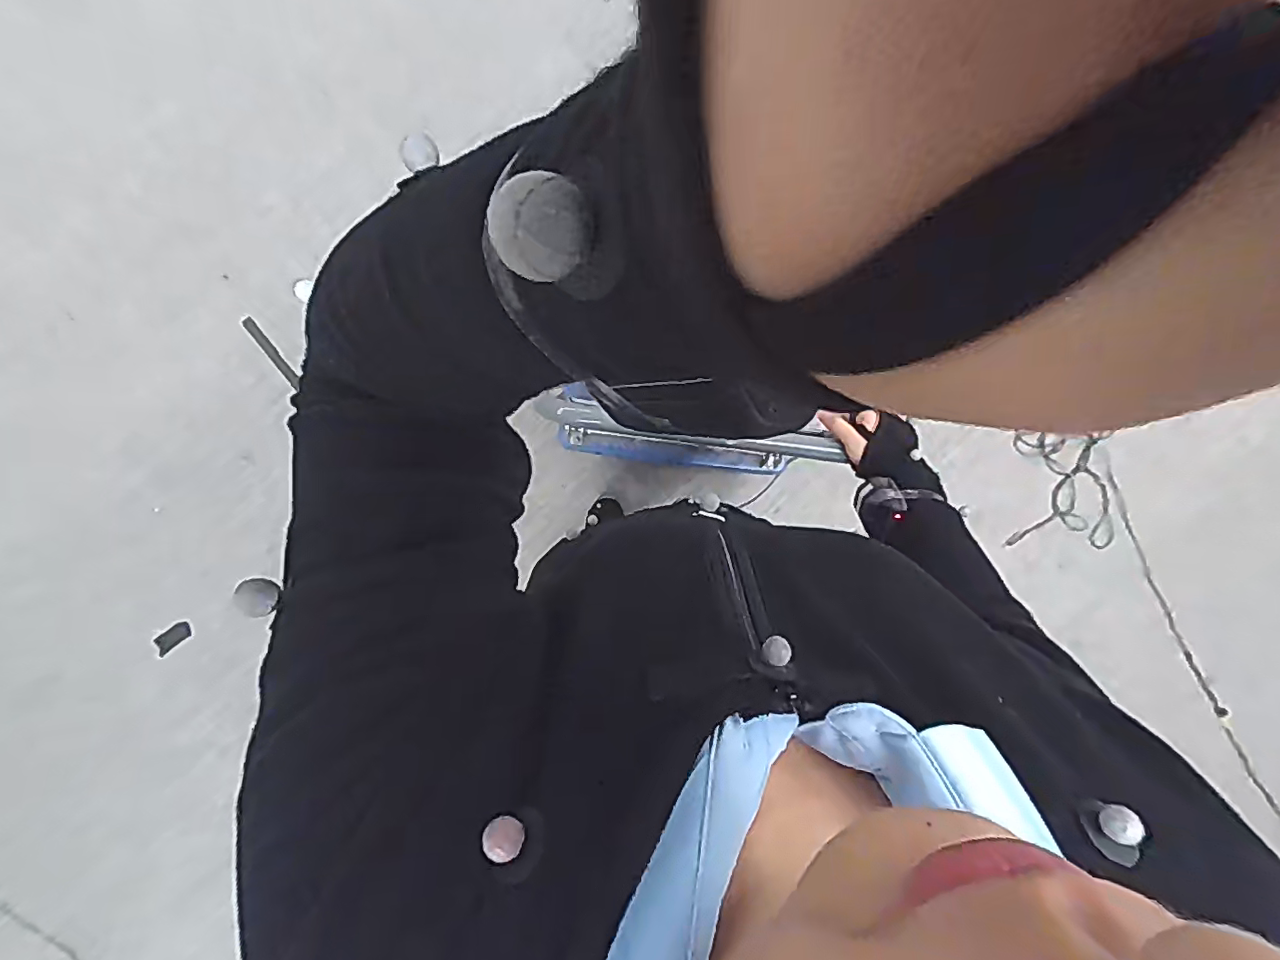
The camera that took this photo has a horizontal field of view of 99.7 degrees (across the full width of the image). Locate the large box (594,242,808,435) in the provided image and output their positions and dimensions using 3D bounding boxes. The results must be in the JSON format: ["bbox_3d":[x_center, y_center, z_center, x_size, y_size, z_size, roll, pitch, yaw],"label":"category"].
[{"bbox_3d":[0.113,-0.289,1.208,0.408,0.320,0.320,7,89,-3],"label":"large box"}]
